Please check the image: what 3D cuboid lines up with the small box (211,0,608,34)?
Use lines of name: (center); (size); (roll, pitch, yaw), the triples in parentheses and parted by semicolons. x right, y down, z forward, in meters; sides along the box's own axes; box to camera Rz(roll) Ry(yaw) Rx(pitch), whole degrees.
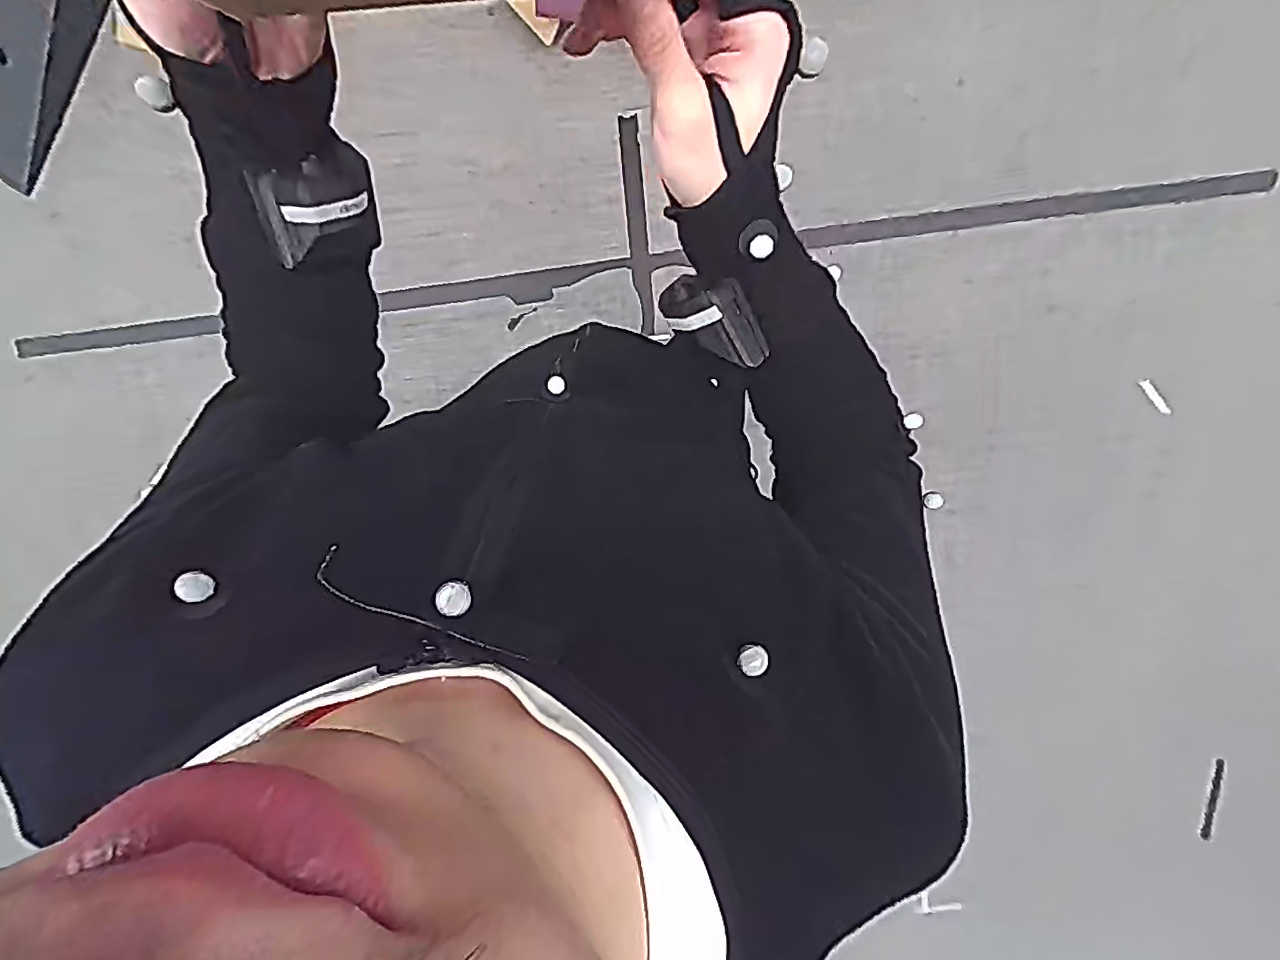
small box: (-0.074, -0.233, 0.124); (0.179, 0.176, 0.168); (-7, 117, -1)
